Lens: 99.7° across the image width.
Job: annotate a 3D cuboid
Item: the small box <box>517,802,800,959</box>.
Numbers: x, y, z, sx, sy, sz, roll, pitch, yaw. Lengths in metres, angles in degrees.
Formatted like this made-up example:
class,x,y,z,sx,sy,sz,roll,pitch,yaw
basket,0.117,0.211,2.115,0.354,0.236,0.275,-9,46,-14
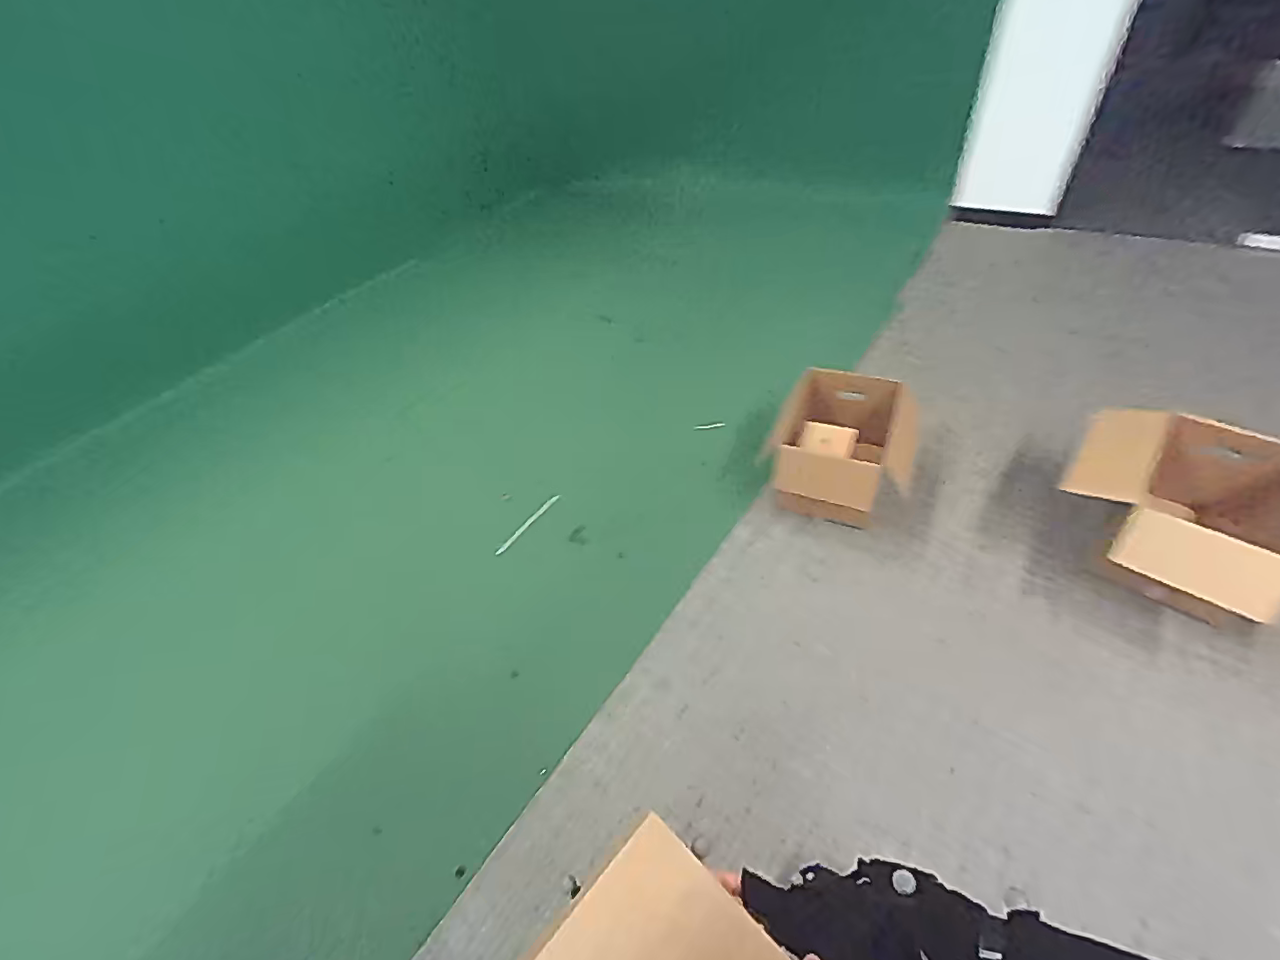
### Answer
class,x,y,z,sx,sy,sz,roll,pitch,yaw
small box,0.014,0.371,0.387,0.168,0.176,0.179,-38,68,-24
